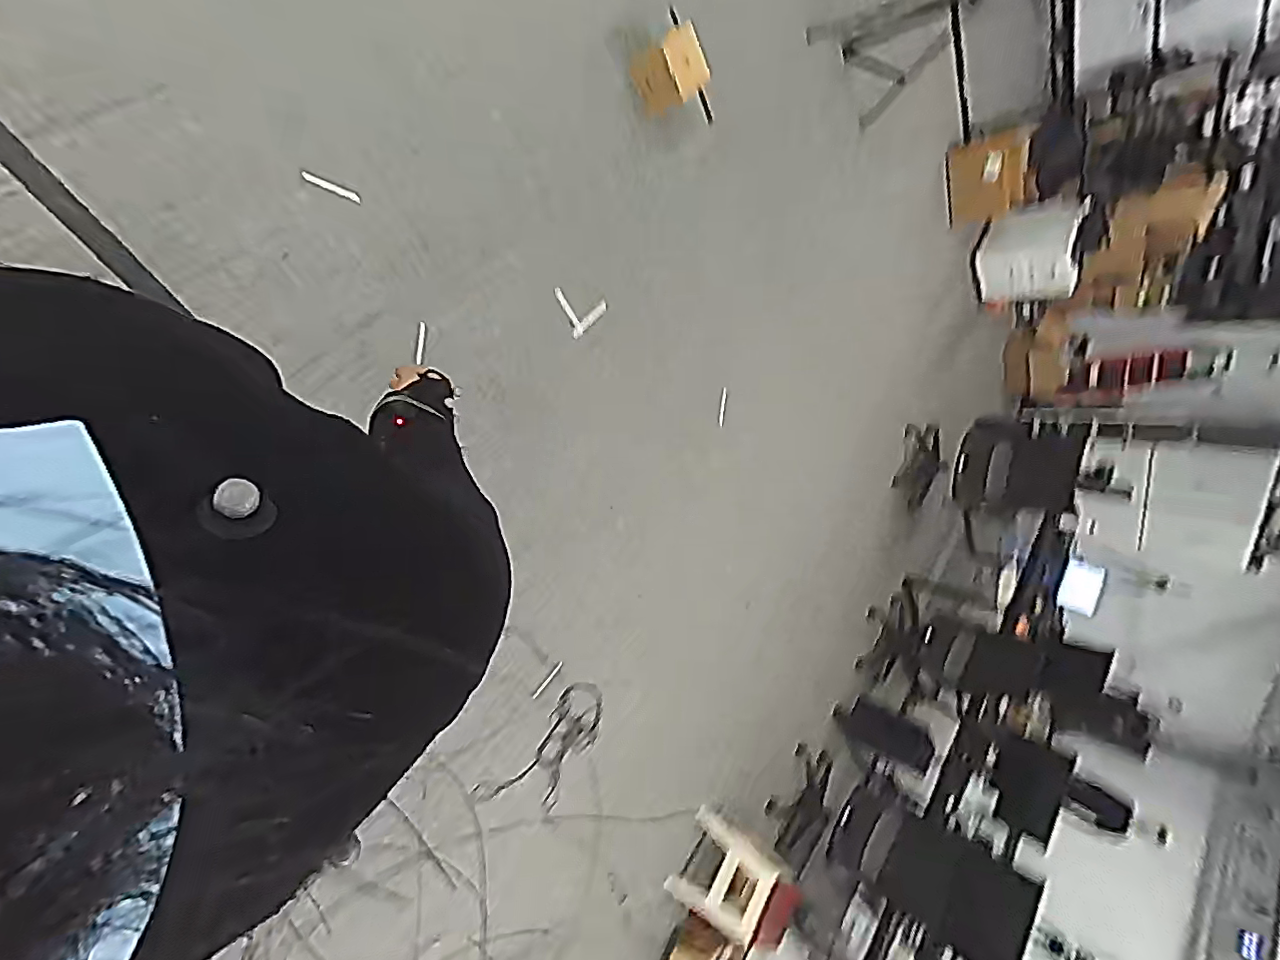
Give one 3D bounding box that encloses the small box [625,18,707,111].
[{"bbox_3d":[0.084,-1.367,1.787,0.179,0.176,0.168,-54,129,-21],"label":"small box"}]
